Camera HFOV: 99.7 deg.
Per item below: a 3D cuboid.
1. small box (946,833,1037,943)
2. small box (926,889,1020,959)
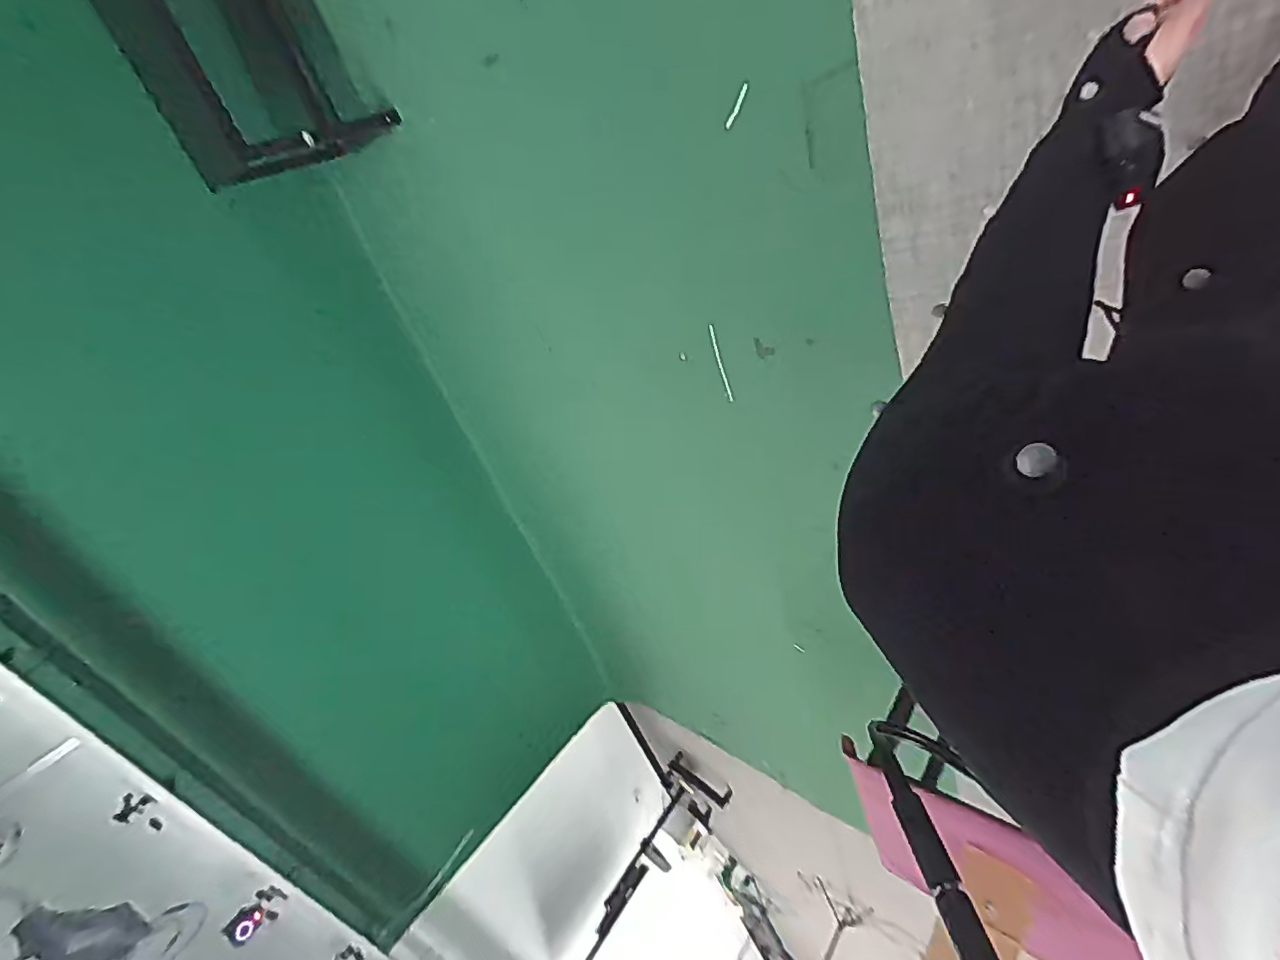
[{"bbox_3d":[0.950,1.112,1.469,0.179,0.176,0.168,18,137,38],"label":"small box"},{"bbox_3d":[0.848,1.206,1.382,0.179,0.176,0.168,14,134,40],"label":"small box"}]
